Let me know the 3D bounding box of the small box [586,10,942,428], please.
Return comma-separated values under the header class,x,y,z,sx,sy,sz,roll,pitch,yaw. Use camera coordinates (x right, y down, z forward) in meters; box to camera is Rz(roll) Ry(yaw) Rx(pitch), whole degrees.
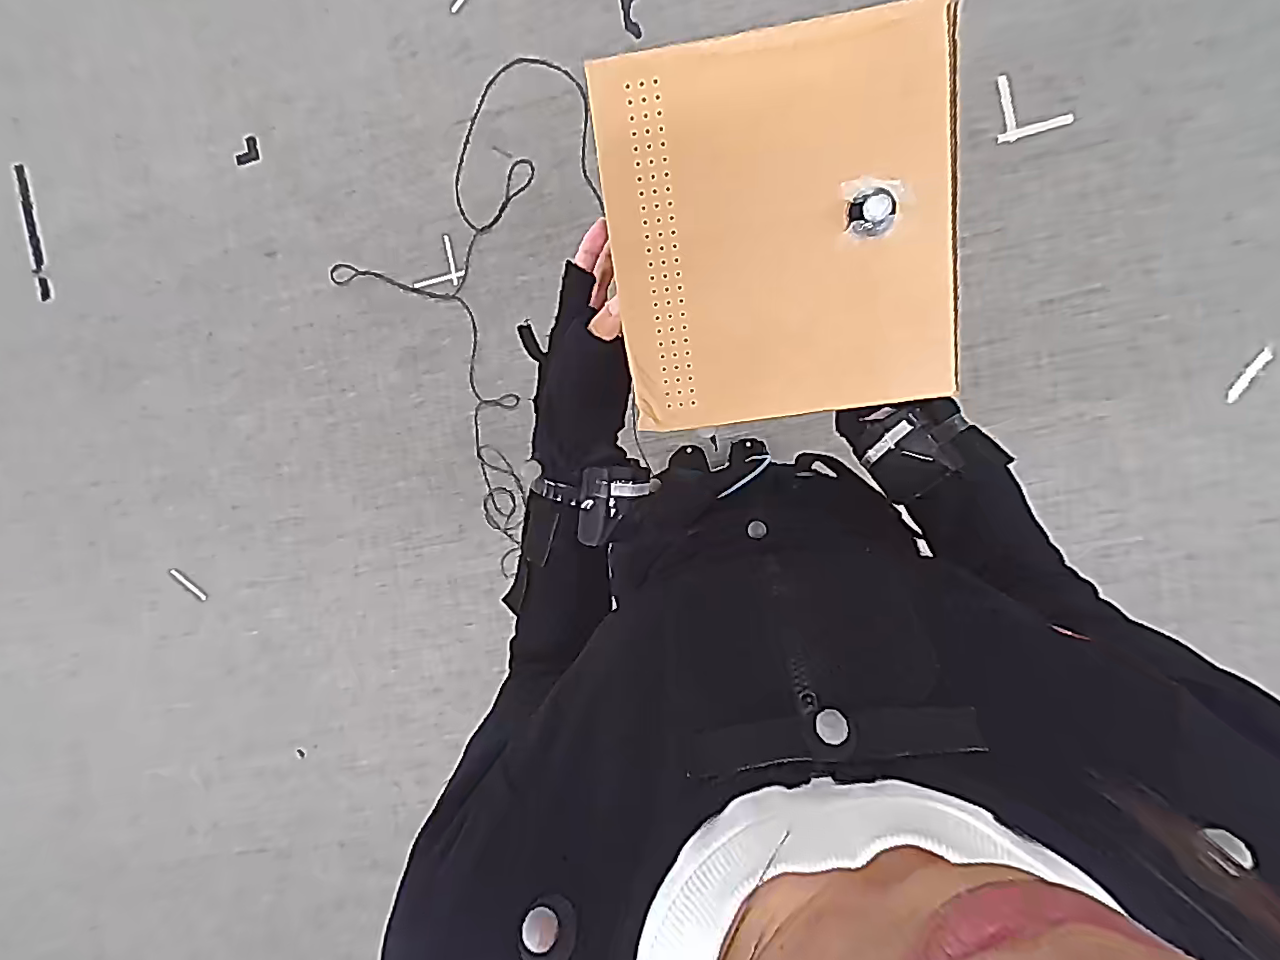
class,x,y,z,sx,sy,sz,roll,pitch,yaw
small box,0.067,-0.140,0.349,0.176,0.168,0.179,-7,104,6
